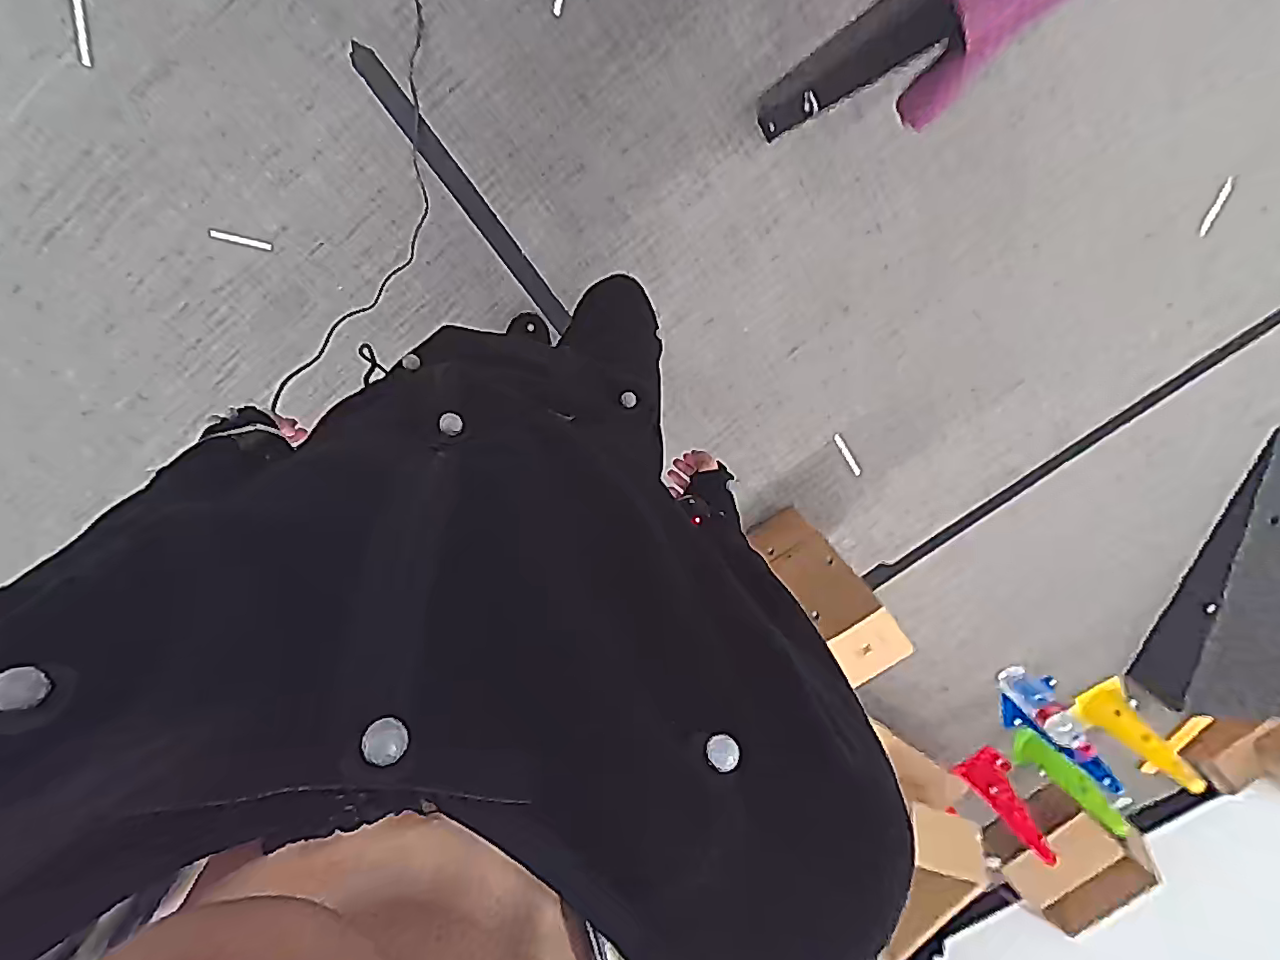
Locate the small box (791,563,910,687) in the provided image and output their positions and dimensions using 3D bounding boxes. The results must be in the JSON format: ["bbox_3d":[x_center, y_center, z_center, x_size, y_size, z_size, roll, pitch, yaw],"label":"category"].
[{"bbox_3d":[0.471,0.329,1.244,0.179,0.176,0.168,-37,115,9],"label":"small box"}]

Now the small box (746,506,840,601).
[{"bbox_3d":[0.432,0.203,1.543,0.179,0.176,0.168,-35,113,9],"label":"small box"}]
